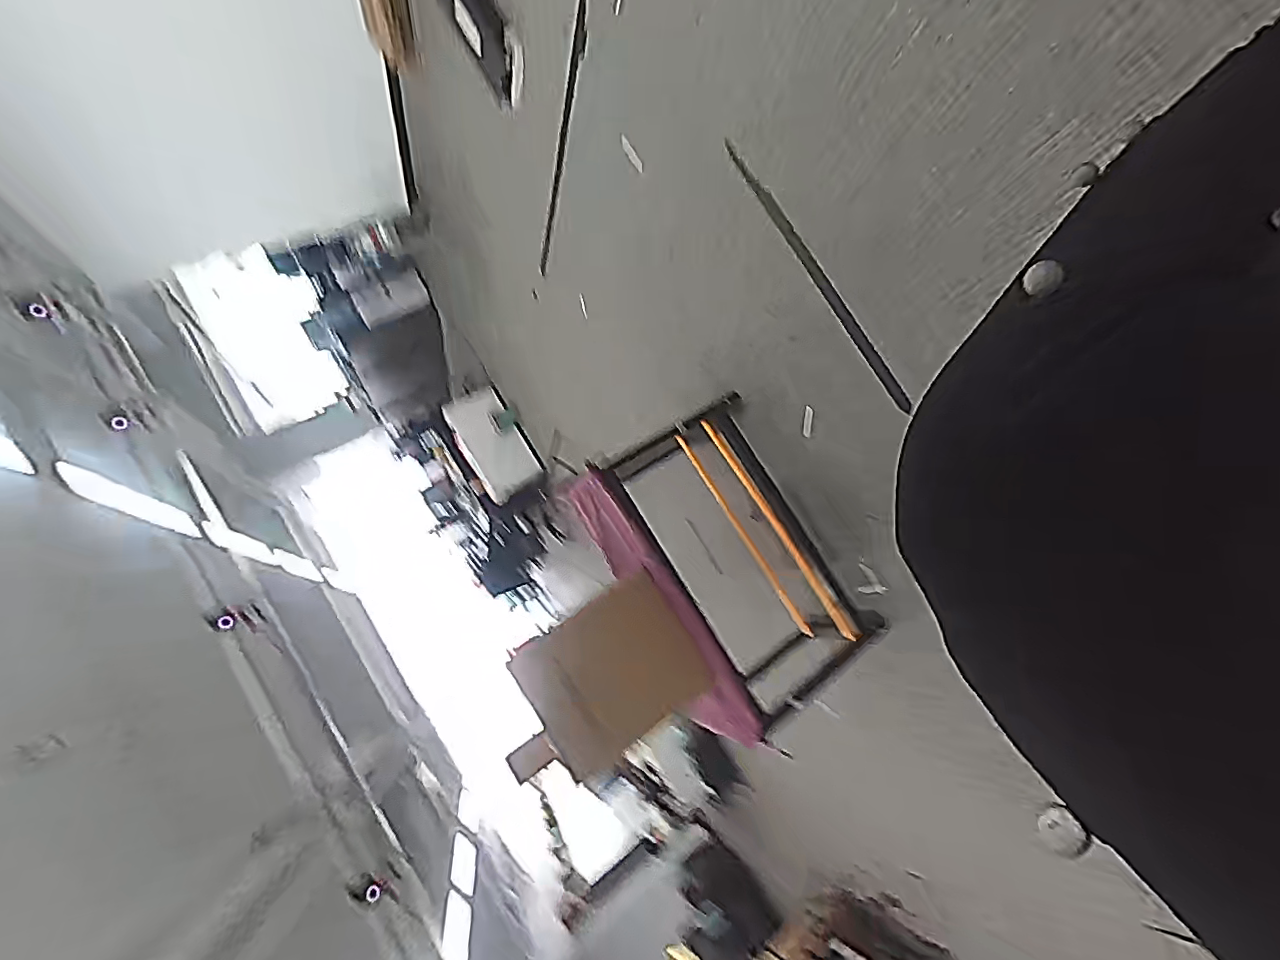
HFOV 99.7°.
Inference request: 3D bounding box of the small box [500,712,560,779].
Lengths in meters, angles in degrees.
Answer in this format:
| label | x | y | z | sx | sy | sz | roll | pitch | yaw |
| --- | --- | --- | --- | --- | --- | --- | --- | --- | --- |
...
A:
| label | x | y | z | sx | sy | sz | roll | pitch | yaw |
| --- | --- | --- | --- | --- | --- | --- | --- | --- | --- |
| small box | -0.422 | 1.010 | 2.058 | 0.168 | 0.176 | 0.179 | 57 | 158 | 12 |
